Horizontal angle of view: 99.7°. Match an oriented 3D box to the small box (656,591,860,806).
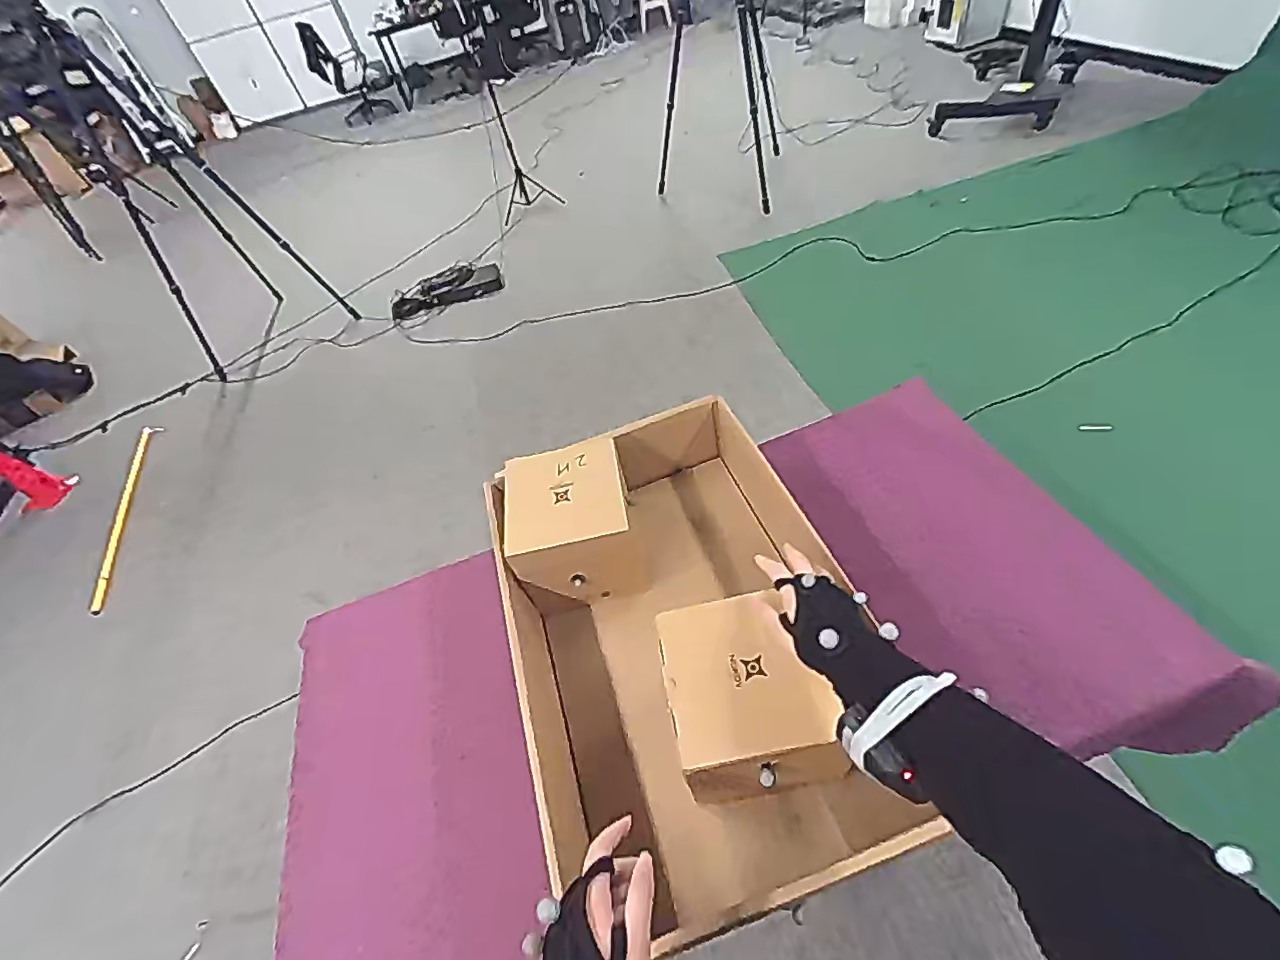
[{"bbox_3d":[0.128,0.254,0.618,0.179,0.176,0.168,-15,48,5],"label":"small box"}]
